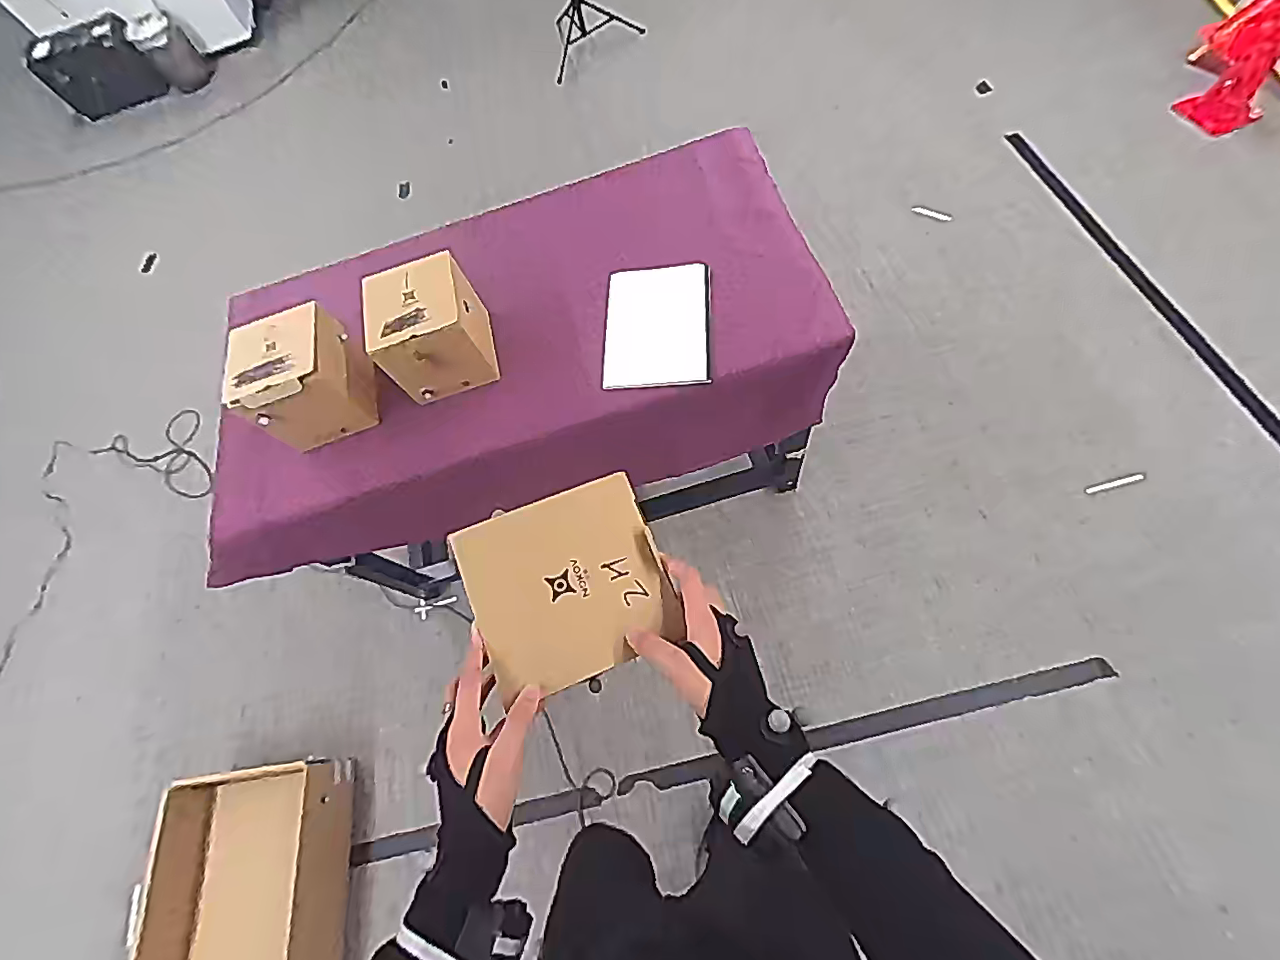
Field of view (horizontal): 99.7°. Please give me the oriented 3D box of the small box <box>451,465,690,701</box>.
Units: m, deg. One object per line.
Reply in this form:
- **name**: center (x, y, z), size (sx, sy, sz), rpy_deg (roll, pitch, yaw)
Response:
- **small box**: center (-0.069, 0.109, 0.558), size (0.179, 0.176, 0.168), rpy_deg (-20, 76, -12)
